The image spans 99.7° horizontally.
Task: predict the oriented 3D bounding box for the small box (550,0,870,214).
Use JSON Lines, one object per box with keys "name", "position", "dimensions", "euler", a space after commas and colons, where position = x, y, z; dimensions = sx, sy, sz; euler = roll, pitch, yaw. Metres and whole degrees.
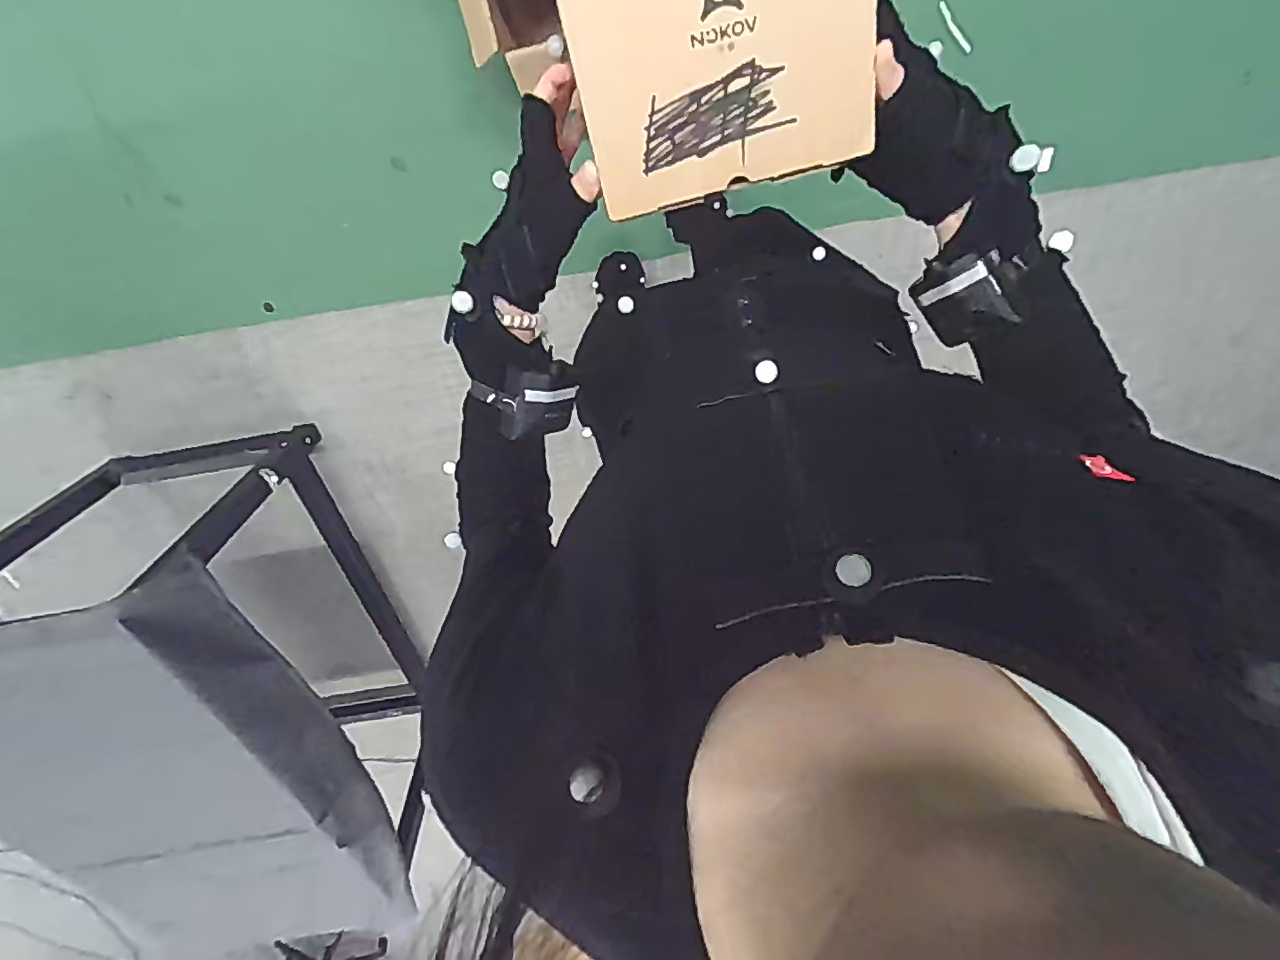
{"name": "small box", "position": [0.034, -0.296, 0.344], "dimensions": [0.168, 0.176, 0.179], "euler": [-13, 125, 5]}
